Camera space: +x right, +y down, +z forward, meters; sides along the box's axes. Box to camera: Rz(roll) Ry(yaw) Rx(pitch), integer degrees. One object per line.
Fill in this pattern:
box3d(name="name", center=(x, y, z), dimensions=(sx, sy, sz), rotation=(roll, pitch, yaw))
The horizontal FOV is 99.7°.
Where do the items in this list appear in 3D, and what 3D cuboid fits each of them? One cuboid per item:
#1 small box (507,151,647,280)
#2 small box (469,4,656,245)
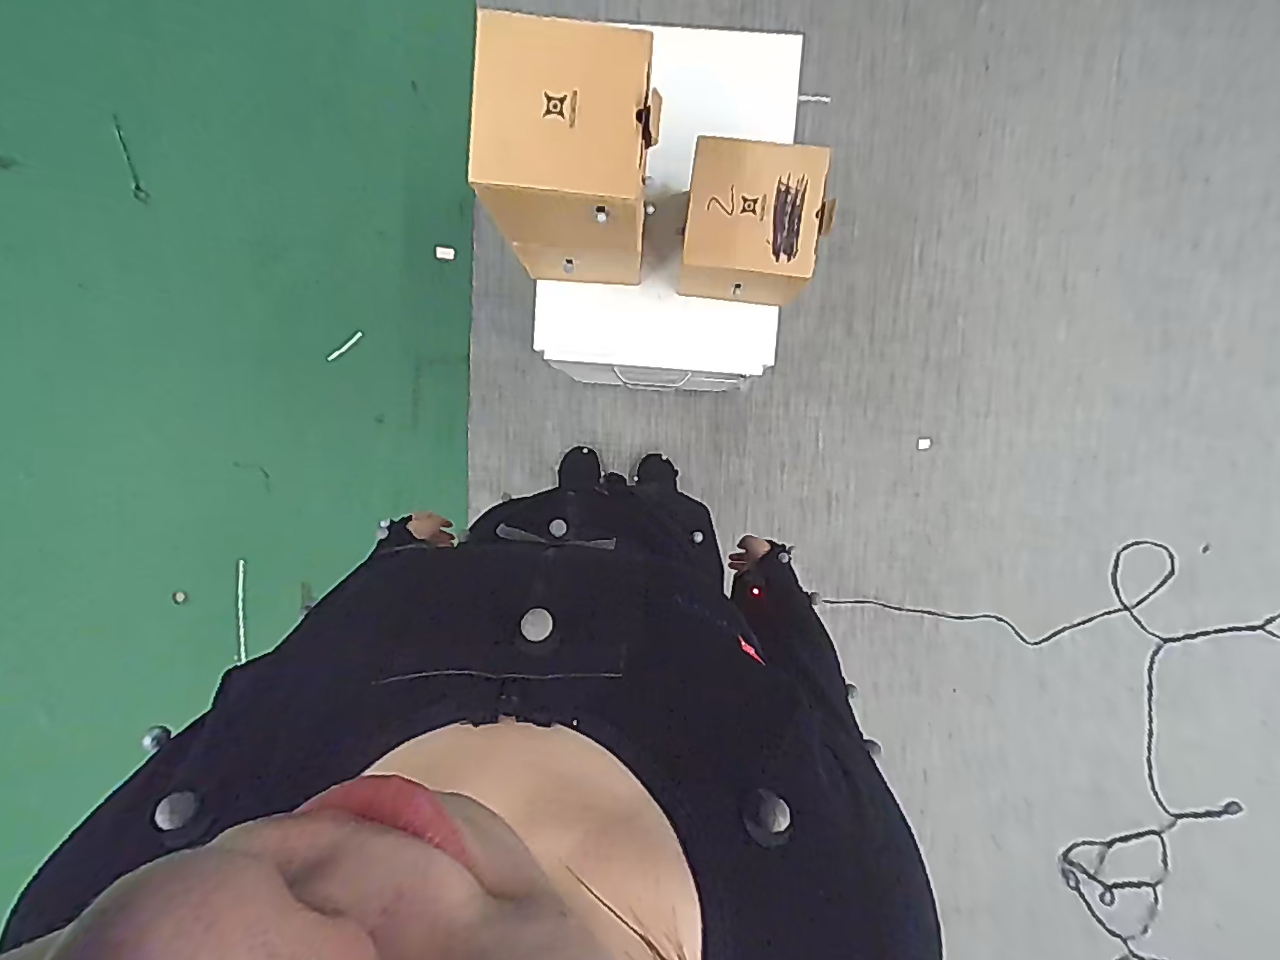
box3d(name="small box", center=(-0.083, -0.398, 0.784), dimensions=(0.179, 0.176, 0.168), rotation=(4, 95, -1))
box3d(name="small box", center=(-0.081, -0.386, 0.621), dimensions=(0.179, 0.176, 0.168), rotation=(5, 95, -3))
